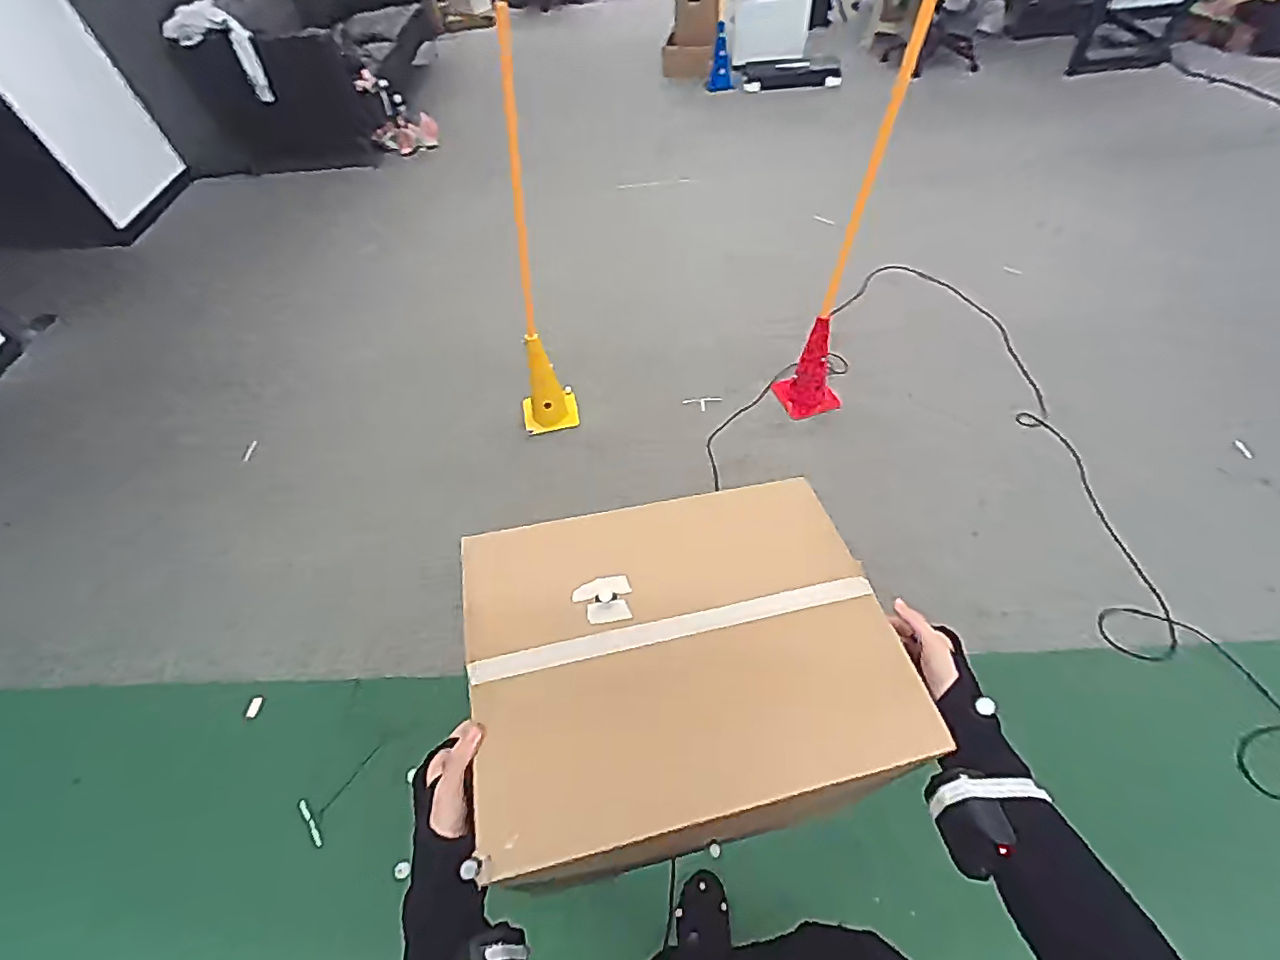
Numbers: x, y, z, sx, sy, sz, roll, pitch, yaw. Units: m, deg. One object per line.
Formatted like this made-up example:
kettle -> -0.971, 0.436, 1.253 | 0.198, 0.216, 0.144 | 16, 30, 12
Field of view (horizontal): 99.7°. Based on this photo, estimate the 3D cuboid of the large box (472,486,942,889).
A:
large box -> 0.043, 0.250, 0.652 | 0.408, 0.320, 0.320 | -10, 51, -9
